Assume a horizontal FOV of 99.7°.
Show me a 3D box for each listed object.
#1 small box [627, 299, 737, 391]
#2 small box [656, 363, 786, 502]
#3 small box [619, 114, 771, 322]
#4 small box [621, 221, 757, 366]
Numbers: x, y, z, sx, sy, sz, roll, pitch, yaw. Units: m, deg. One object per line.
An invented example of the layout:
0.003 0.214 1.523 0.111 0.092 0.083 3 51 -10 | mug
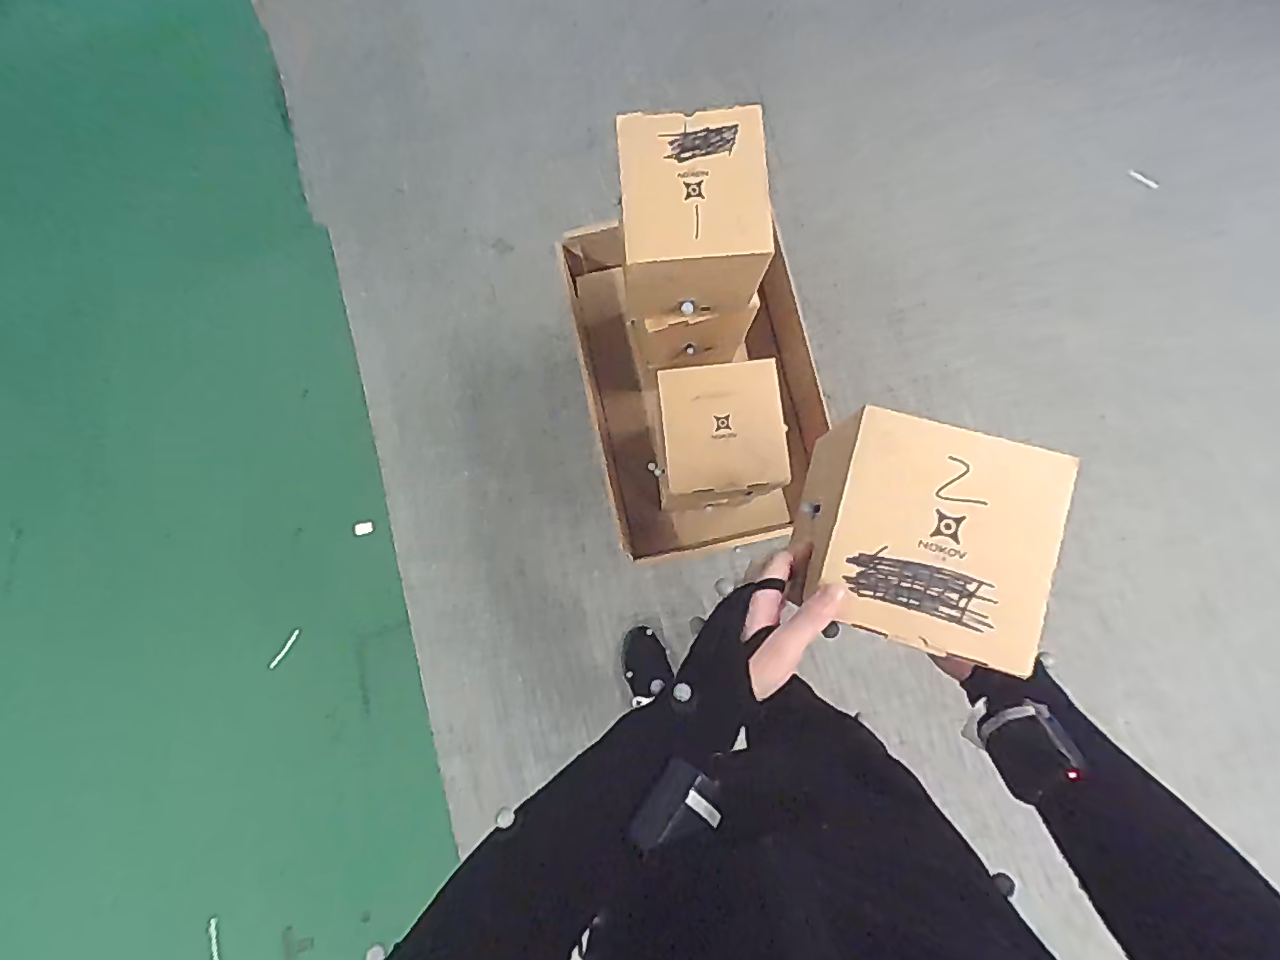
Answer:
0.070 -0.285 1.010 0.168 0.176 0.179 -13 84 0 | small box
0.112 -0.061 0.816 0.168 0.176 0.179 -5 82 0 | small box
0.060 -0.318 0.685 0.168 0.176 0.179 -4 85 0 | small box
0.067 -0.299 0.848 0.168 0.176 0.179 -13 85 -1 | small box
